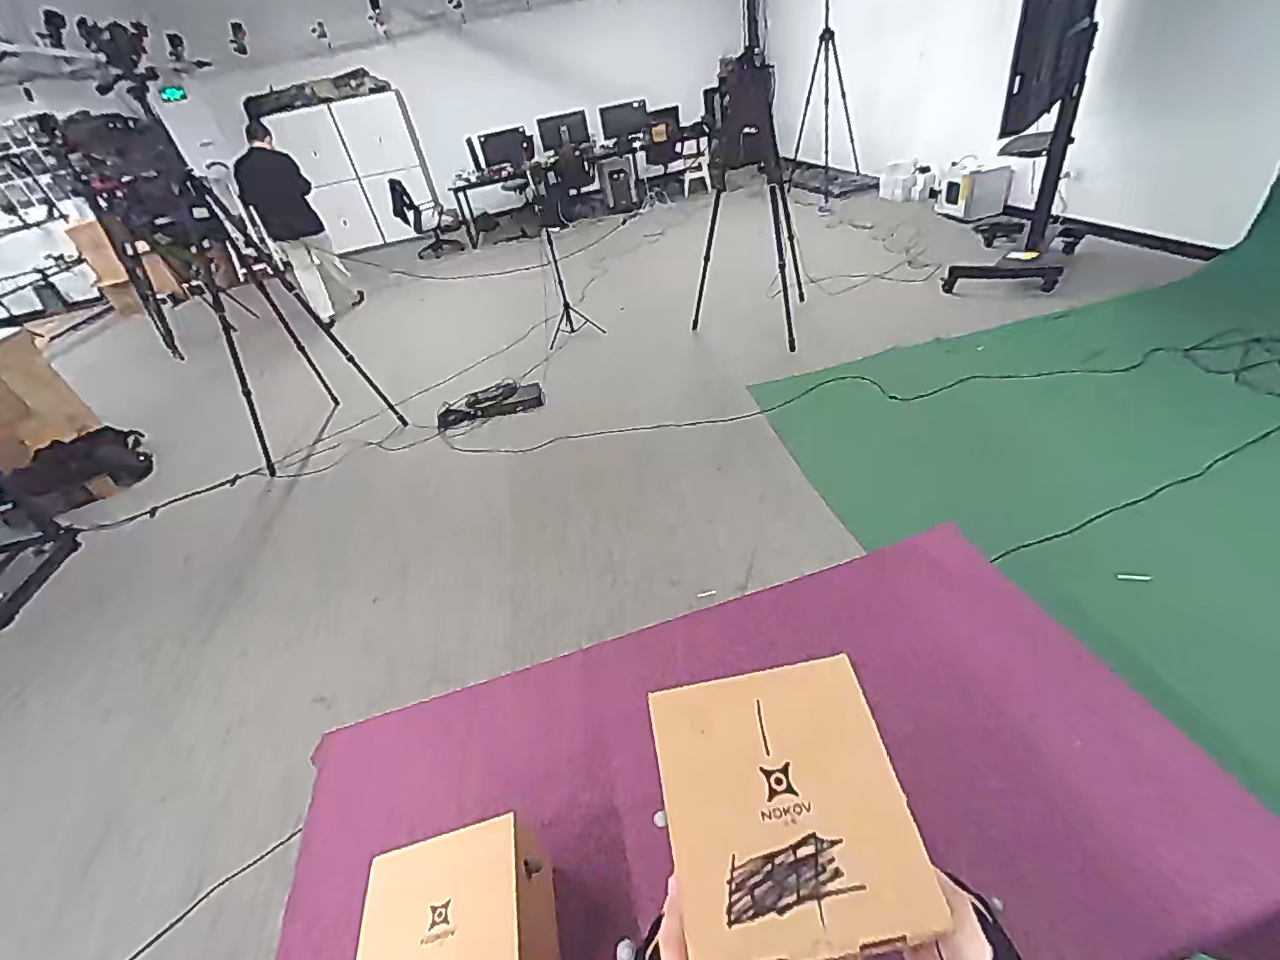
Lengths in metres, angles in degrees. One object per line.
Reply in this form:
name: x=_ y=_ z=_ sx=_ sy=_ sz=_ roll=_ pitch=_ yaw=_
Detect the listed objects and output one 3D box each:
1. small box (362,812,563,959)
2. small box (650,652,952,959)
small box: x=-0.188 y=0.516 z=0.599 sx=0.168 sy=0.176 sz=0.179 roll=-17 pitch=37 yaw=-5
small box: x=0.110 y=0.266 z=0.440 sx=0.168 sy=0.176 sz=0.179 roll=-11 pitch=52 yaw=0
